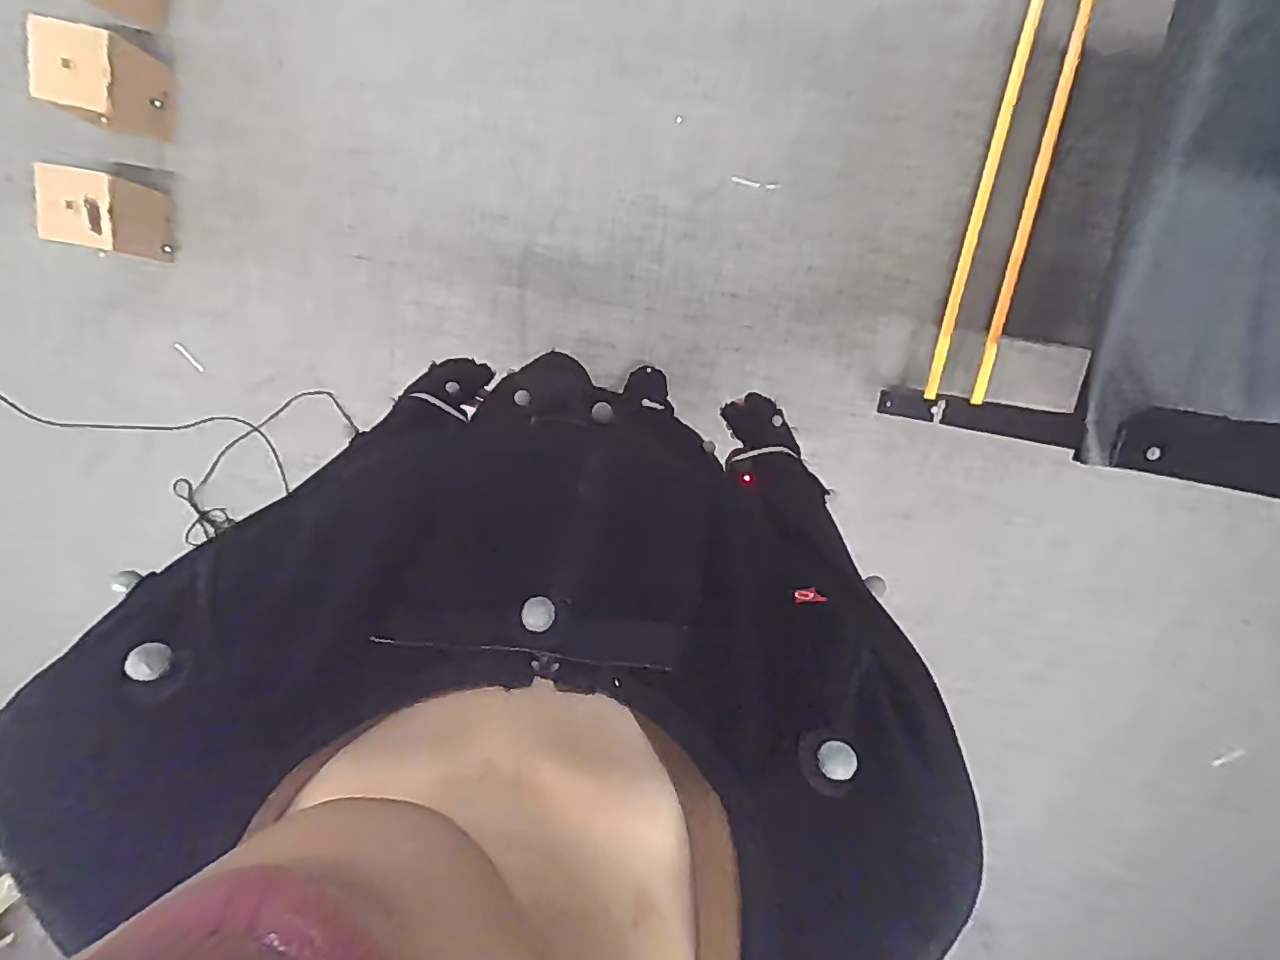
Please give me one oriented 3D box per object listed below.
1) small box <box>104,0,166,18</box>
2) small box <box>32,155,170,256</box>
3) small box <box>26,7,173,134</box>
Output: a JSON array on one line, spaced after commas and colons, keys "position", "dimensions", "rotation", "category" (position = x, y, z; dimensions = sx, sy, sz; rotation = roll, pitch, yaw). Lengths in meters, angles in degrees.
[{"position": [-1.197, -1.179, 1.191], "dimensions": [0.179, 0.176, 0.168], "rotation": [18, 102, -3], "category": "small box"}, {"position": [-1.285, -0.650, 1.303], "dimensions": [0.179, 0.176, 0.168], "rotation": [10, 102, 0], "category": "small box"}, {"position": [-1.235, -0.930, 1.245], "dimensions": [0.179, 0.176, 0.168], "rotation": [11, 102, -1], "category": "small box"}]
